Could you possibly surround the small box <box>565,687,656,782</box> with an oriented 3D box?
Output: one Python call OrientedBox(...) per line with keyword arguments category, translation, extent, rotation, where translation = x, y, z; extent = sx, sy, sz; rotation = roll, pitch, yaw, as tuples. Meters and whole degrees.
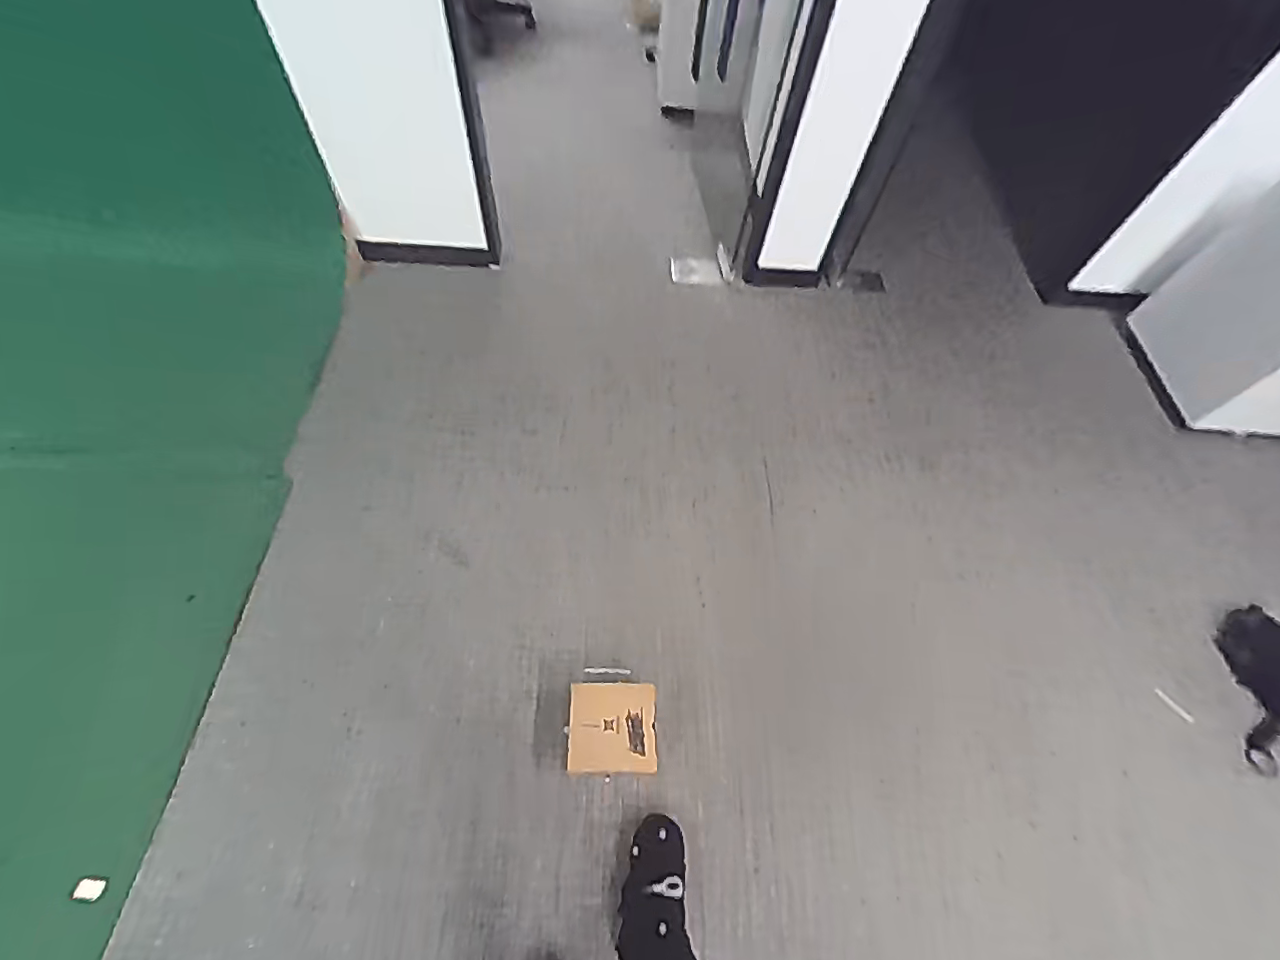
OrientedBox(category="small box", translation=(-0.062, 0.543, 1.150), extent=(0.179, 0.176, 0.168), rotation=(1, 58, -3))
